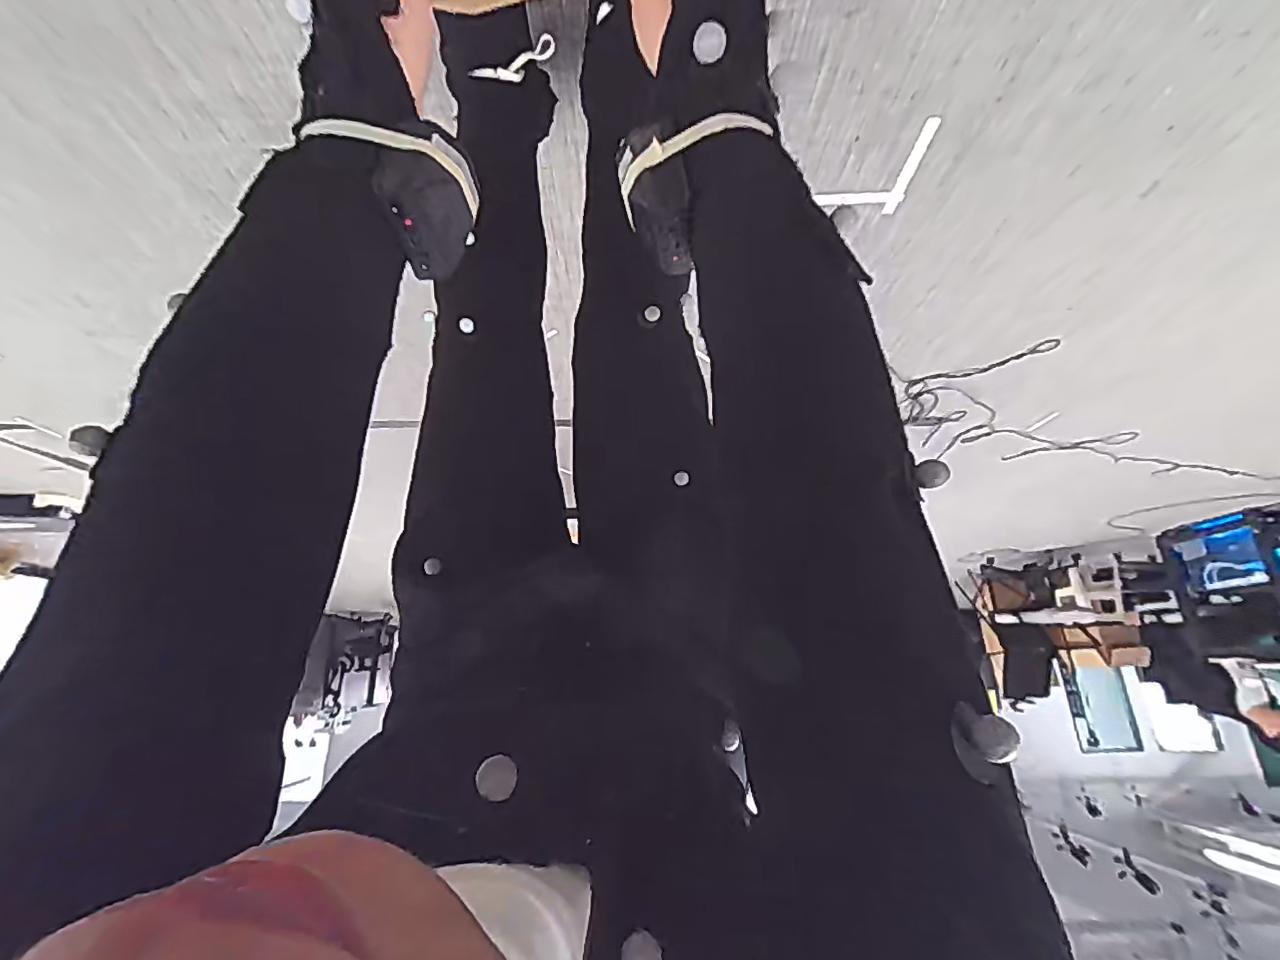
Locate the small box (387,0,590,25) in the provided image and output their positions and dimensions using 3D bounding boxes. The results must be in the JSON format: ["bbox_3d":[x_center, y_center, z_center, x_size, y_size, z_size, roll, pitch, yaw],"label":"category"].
[{"bbox_3d":[-0.076,-0.407,0.337,0.179,0.176,0.168,-6,128,8],"label":"small box"}]
